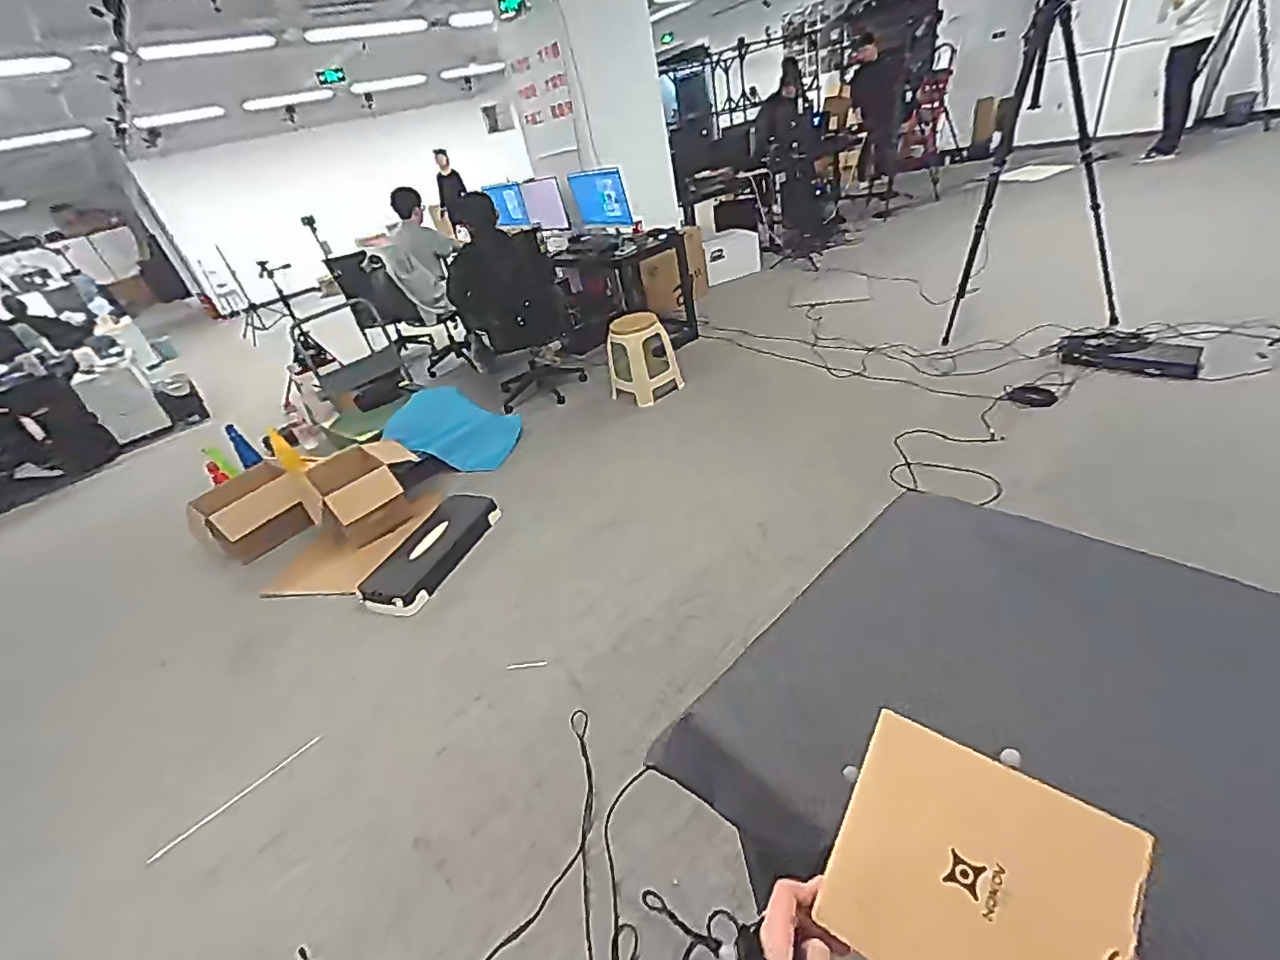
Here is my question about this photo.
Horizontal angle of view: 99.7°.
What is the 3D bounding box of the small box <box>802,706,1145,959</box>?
[{"bbox_3d":[0.256,0.314,0.443,0.179,0.176,0.168,18,71,31],"label":"small box"}]
